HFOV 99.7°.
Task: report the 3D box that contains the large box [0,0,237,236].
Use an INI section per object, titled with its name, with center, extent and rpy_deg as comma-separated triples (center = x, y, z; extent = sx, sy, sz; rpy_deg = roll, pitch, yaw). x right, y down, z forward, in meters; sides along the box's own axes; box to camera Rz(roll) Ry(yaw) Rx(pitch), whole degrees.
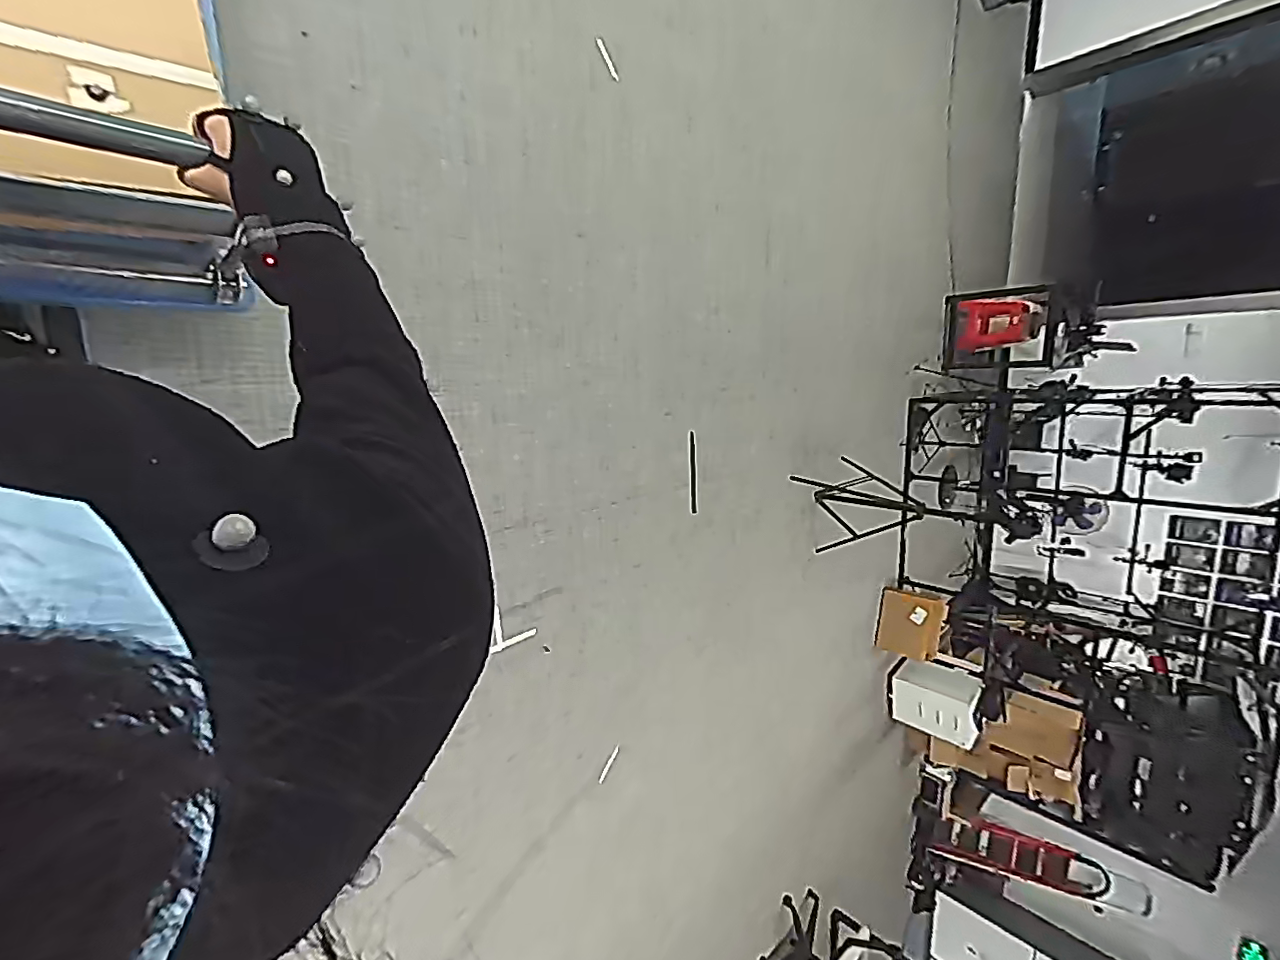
[large box]
center = -0.867, -0.548, 0.751
extent = 0.408, 0.320, 0.320
rpy_deg = -17, 109, -44
